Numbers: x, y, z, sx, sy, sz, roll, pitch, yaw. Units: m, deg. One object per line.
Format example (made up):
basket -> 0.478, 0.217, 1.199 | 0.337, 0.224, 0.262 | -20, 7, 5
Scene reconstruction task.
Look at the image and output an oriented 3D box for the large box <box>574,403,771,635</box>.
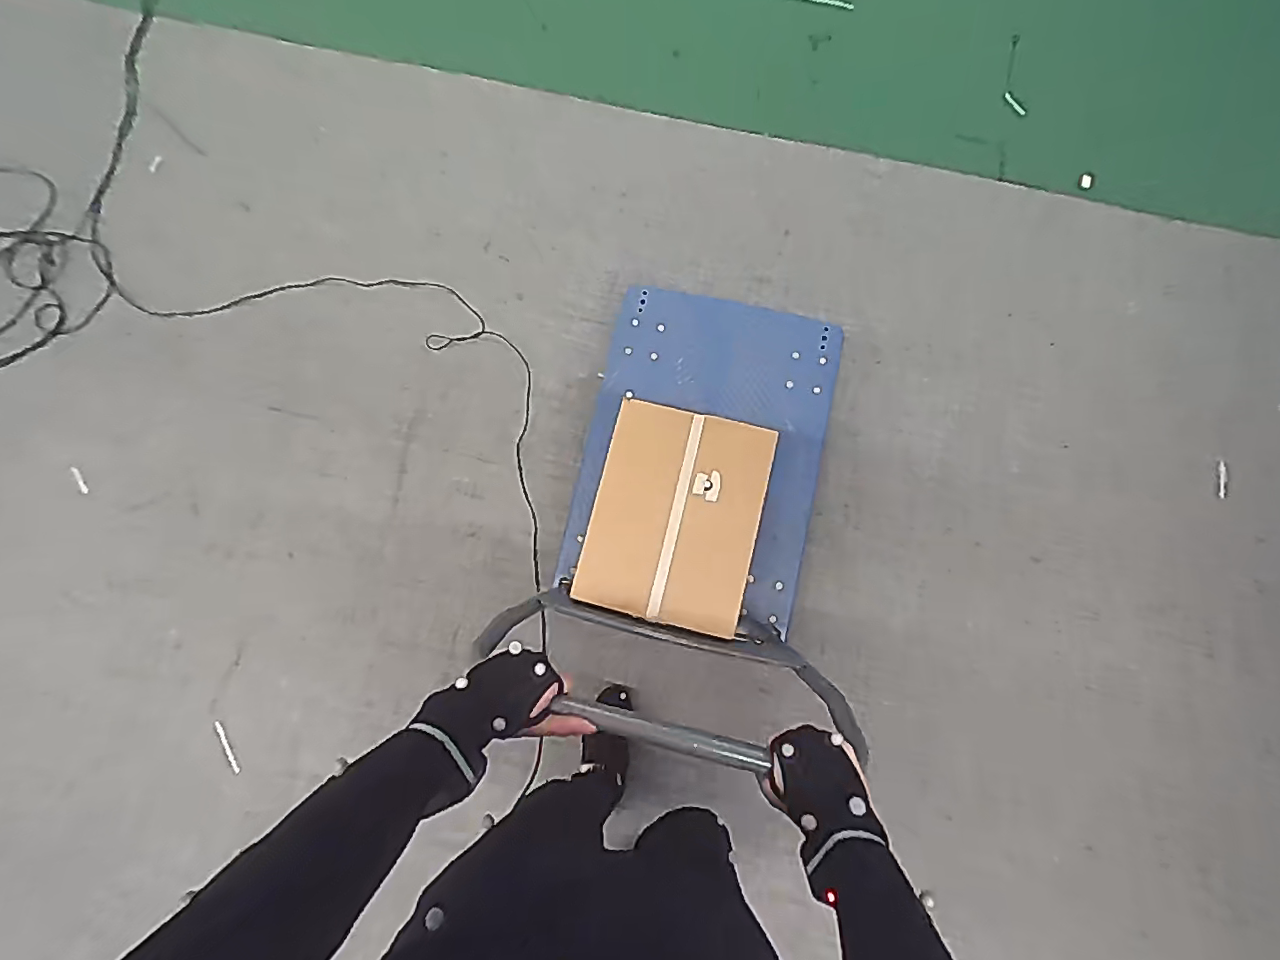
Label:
large box -> 0.073, 0.097, 1.181 | 0.320, 0.320, 0.408 | 14, 79, 4
